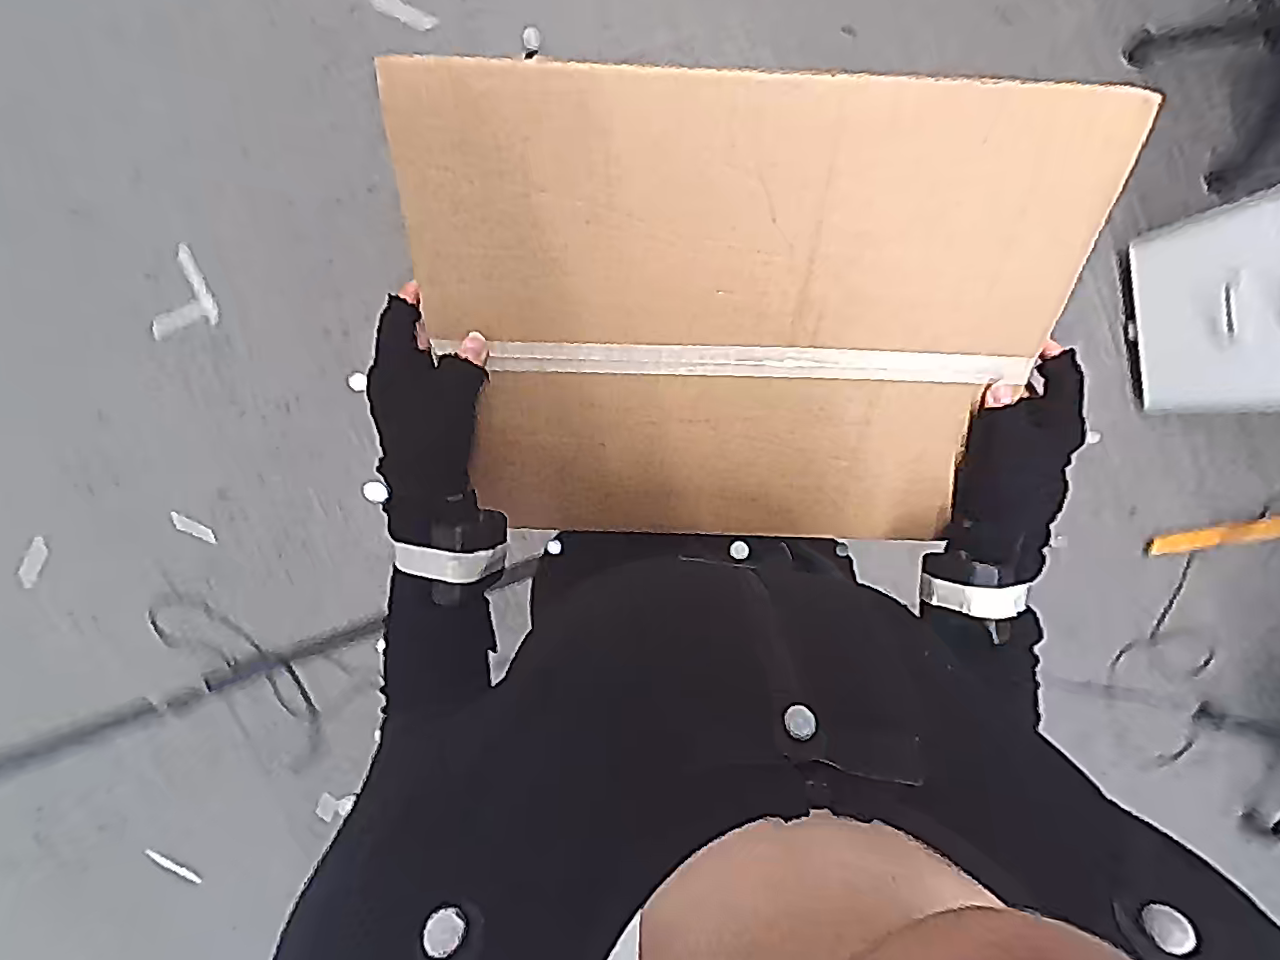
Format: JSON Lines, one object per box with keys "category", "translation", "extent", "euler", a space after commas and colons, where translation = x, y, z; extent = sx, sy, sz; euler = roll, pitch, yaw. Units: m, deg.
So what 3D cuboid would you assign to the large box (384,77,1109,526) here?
{"category": "large box", "translation": [0.055, -0.172, 0.498], "extent": [0.408, 0.320, 0.320], "euler": [0, 127, -1]}
